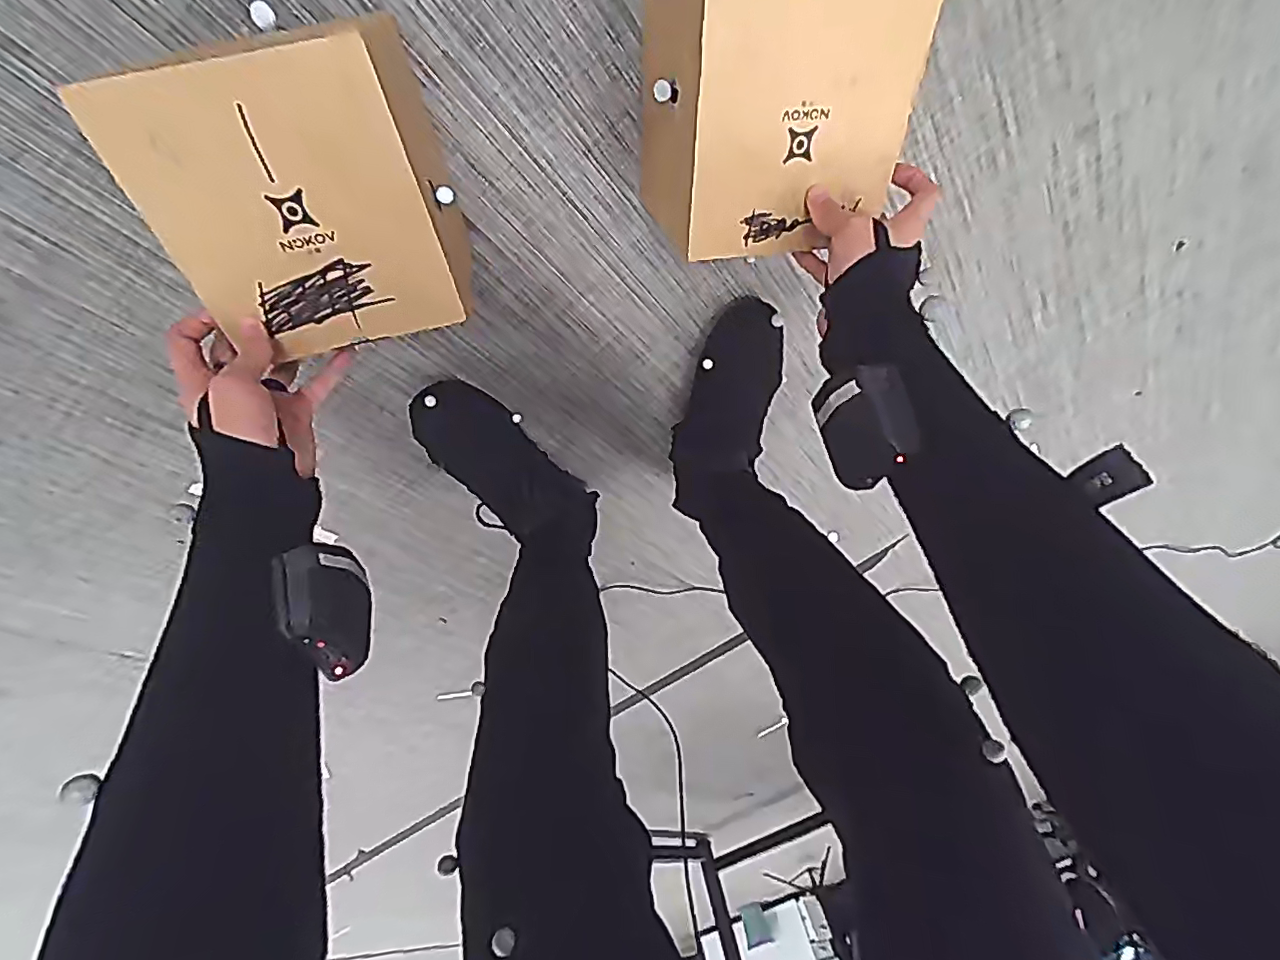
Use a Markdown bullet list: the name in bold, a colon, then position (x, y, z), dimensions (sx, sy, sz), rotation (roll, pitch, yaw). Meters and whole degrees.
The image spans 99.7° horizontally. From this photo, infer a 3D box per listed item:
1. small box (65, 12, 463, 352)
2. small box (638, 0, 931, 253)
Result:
- **small box**: position (-0.243, -0.229, 0.415), dimensions (0.168, 0.176, 0.179), rotation (-15, 134, -4)
- **small box**: position (0.095, -0.309, 0.448), dimensions (0.168, 0.176, 0.179), rotation (-8, 133, -10)
